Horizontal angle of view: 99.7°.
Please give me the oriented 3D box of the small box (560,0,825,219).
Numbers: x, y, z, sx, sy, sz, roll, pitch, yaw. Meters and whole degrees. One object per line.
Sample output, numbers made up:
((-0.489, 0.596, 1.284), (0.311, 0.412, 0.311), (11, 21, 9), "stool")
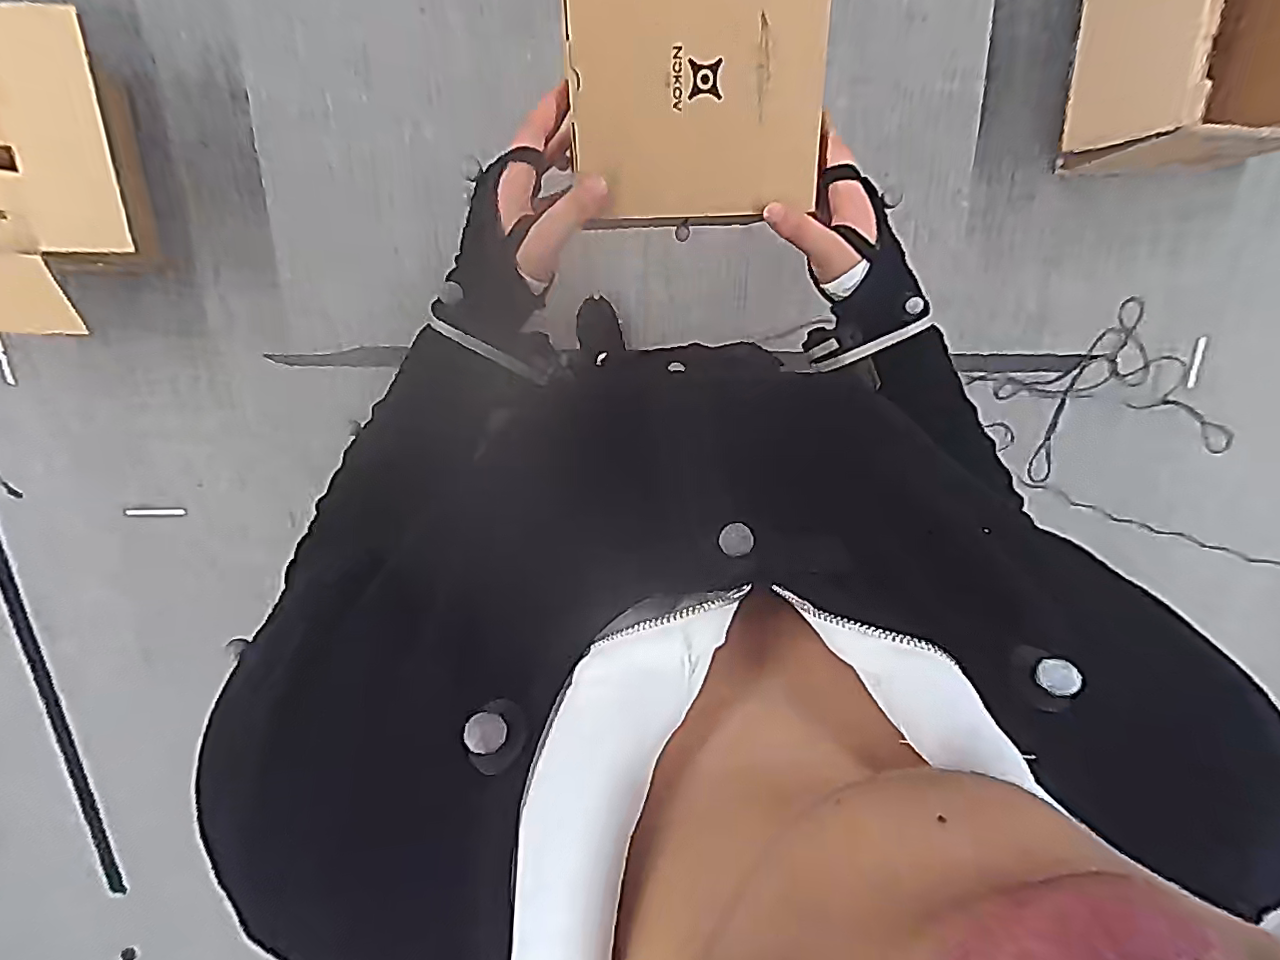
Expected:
((0.029, -0.308, 0.438), (0.179, 0.176, 0.168), (-5, 114, -6), "small box")
